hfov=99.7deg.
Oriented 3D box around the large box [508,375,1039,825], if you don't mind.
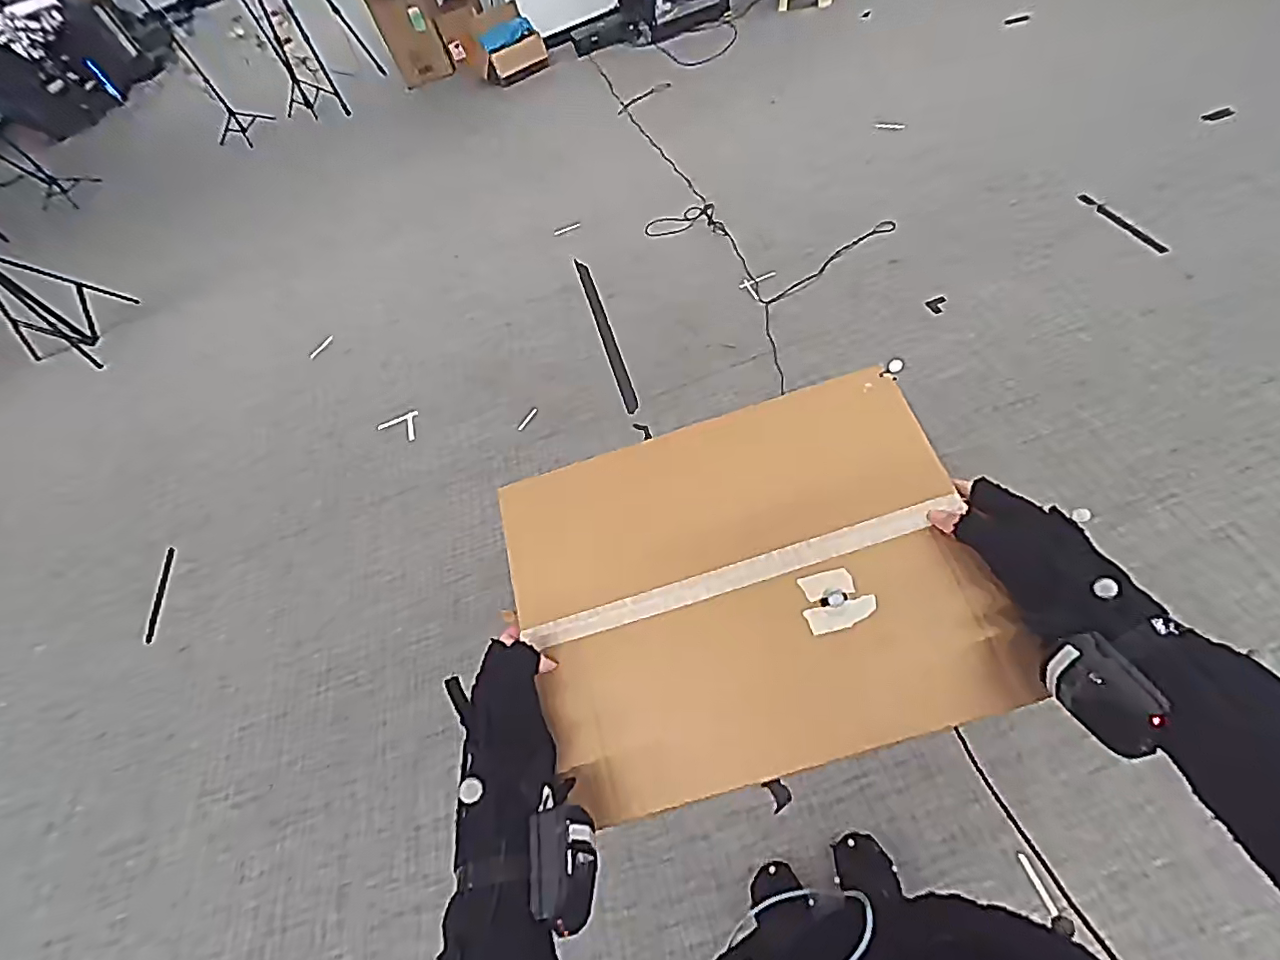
[{"bbox_3d":[0.112,0.145,0.628,0.408,0.320,0.320,-18,66,2],"label":"large box"}]
